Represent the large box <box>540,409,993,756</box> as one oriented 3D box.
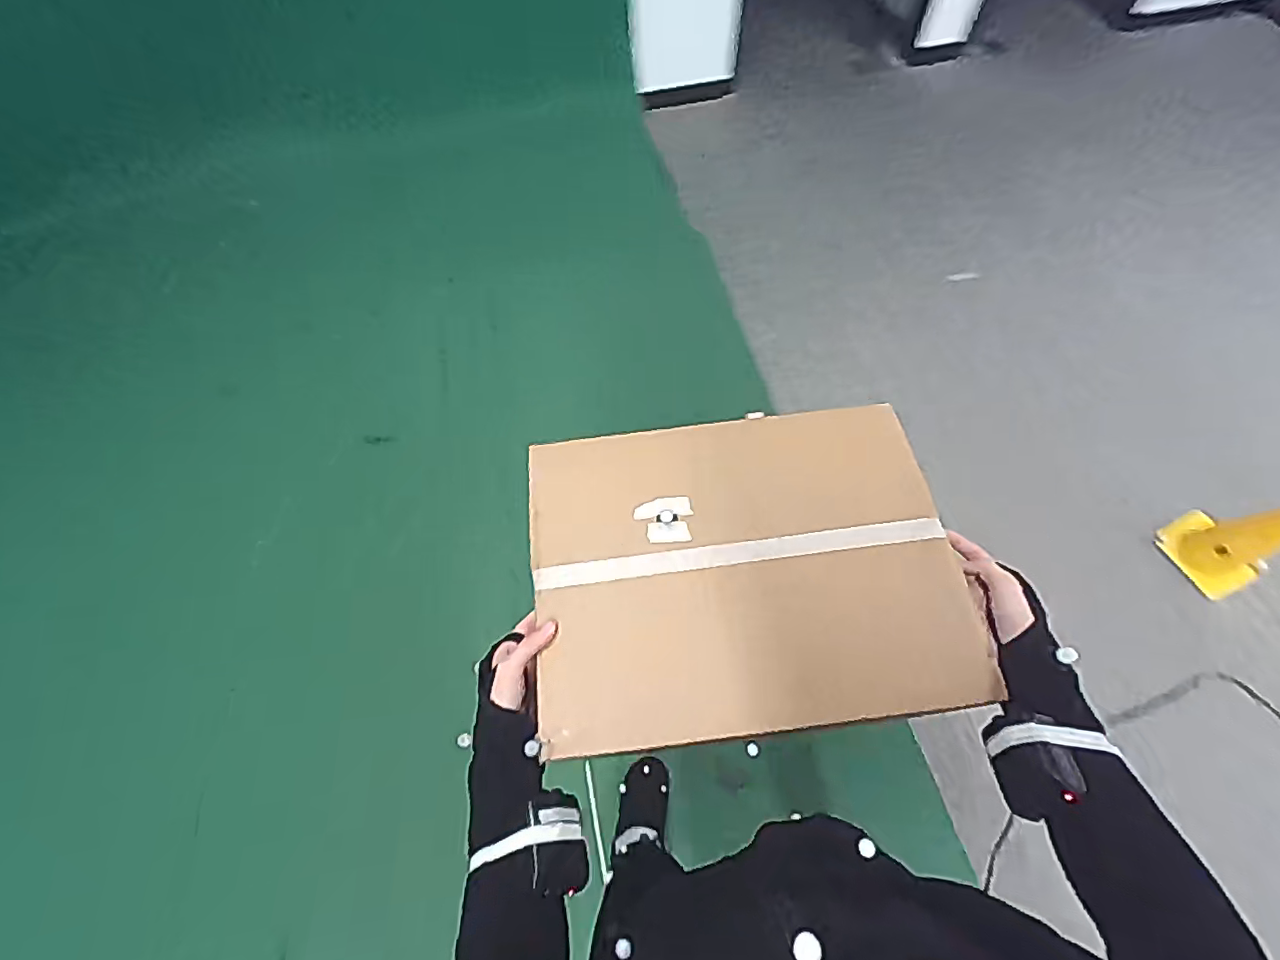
[{"bbox_3d":[0.112,0.147,0.676,0.408,0.320,0.320,-8,62,1],"label":"large box"}]
